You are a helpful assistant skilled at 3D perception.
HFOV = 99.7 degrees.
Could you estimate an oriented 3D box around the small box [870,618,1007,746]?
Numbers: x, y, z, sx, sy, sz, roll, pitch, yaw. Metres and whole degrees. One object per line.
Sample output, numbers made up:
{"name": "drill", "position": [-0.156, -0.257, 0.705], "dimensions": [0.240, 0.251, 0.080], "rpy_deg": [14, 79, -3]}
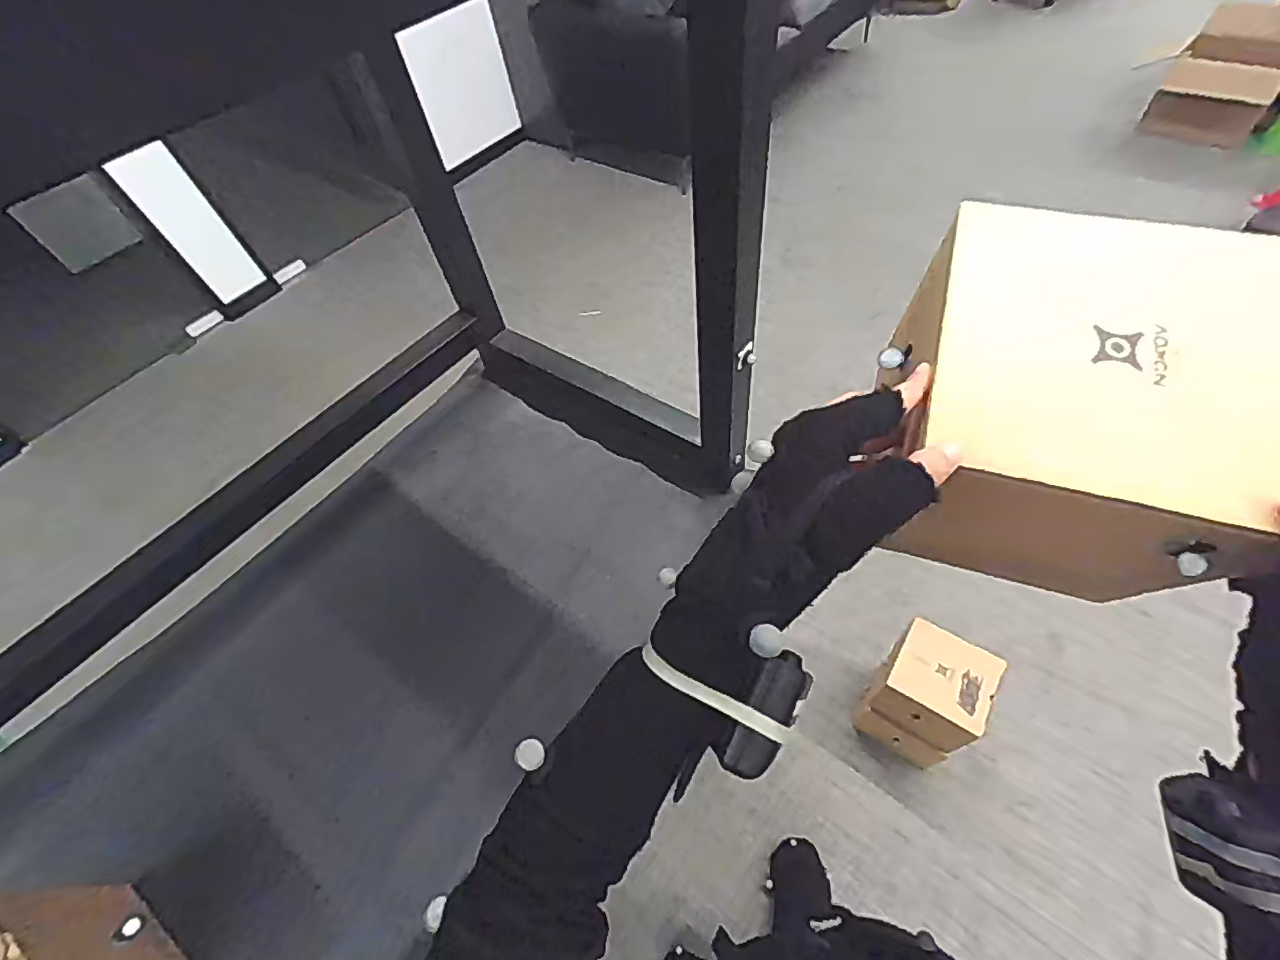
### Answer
{"name": "small box", "position": [0.601, 0.418, 1.105], "dimensions": [0.179, 0.176, 0.168], "rpy_deg": [27, 63, 26]}
